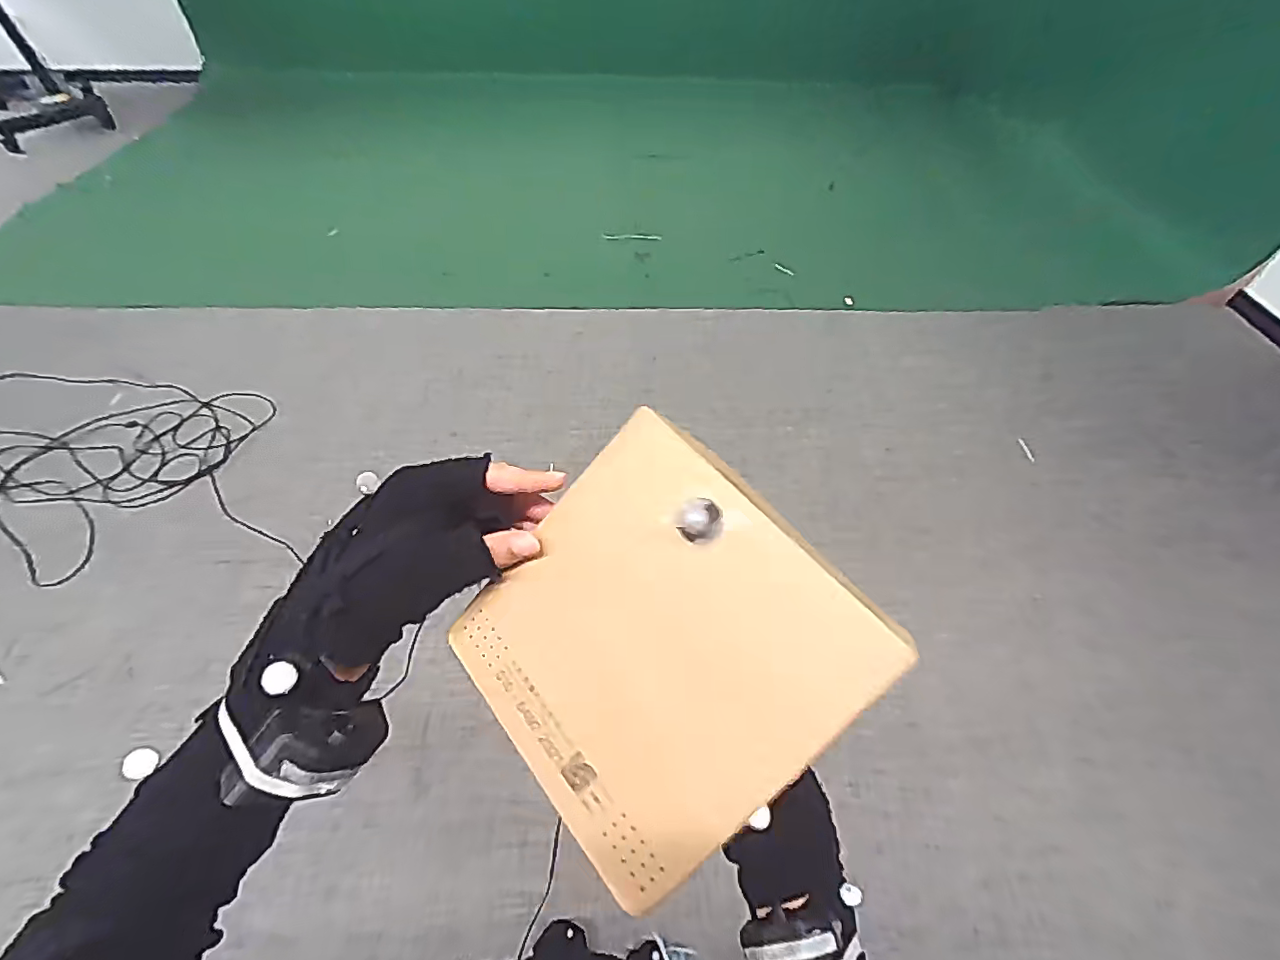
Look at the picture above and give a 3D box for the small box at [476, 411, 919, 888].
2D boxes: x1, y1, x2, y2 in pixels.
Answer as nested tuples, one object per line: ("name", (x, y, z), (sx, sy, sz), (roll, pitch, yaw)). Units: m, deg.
("small box", (0.037, 0.091, 0.337), (0.176, 0.179, 0.168), (-47, 67, 7))
